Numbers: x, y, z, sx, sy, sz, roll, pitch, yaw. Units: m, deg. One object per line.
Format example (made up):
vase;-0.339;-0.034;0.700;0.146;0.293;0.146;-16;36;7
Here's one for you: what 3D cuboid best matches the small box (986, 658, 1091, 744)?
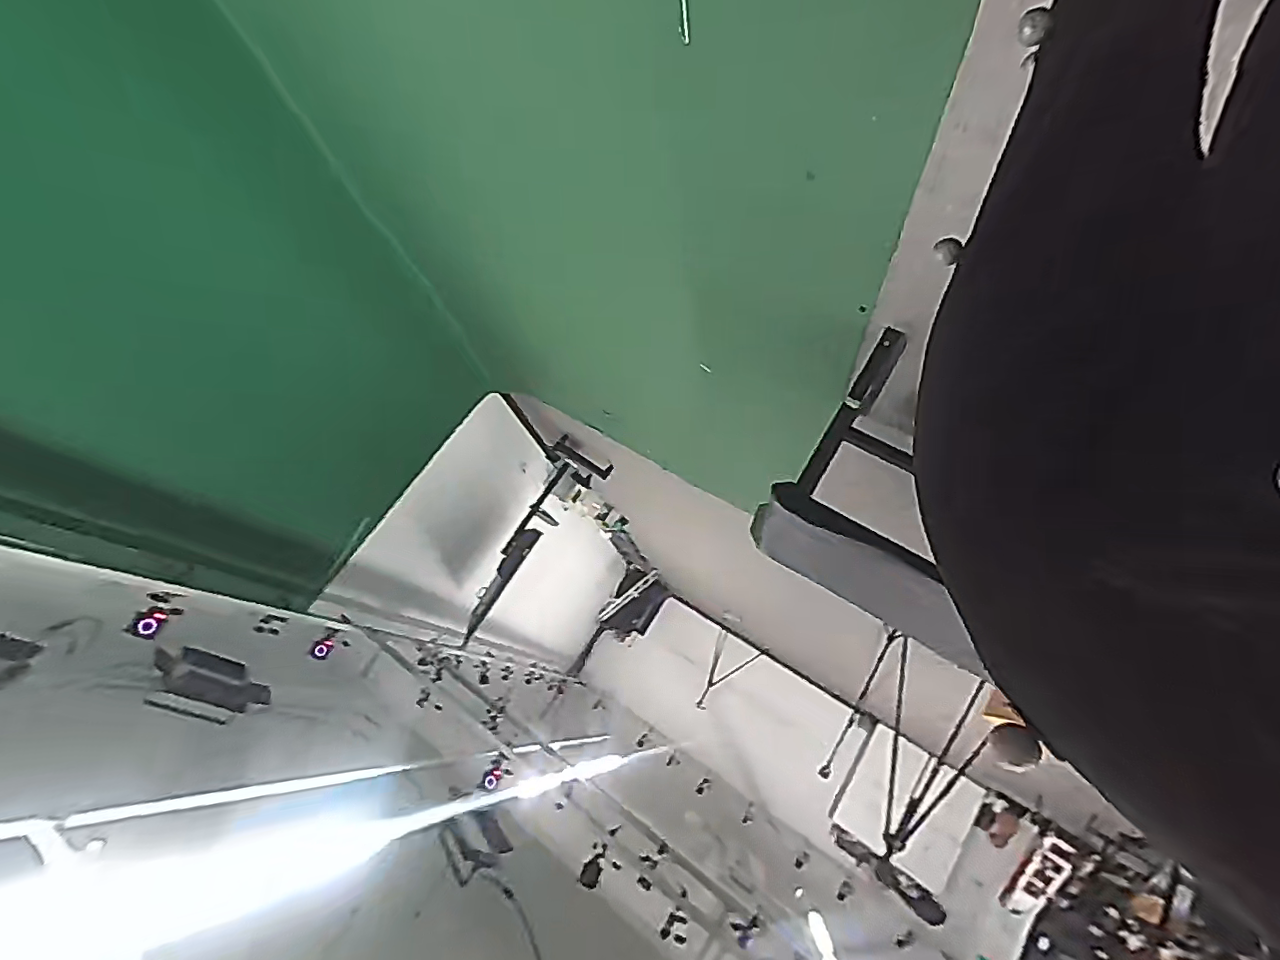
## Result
small box;1.166;0.638;1.580;0.168;0.176;0.179;31;167;13
